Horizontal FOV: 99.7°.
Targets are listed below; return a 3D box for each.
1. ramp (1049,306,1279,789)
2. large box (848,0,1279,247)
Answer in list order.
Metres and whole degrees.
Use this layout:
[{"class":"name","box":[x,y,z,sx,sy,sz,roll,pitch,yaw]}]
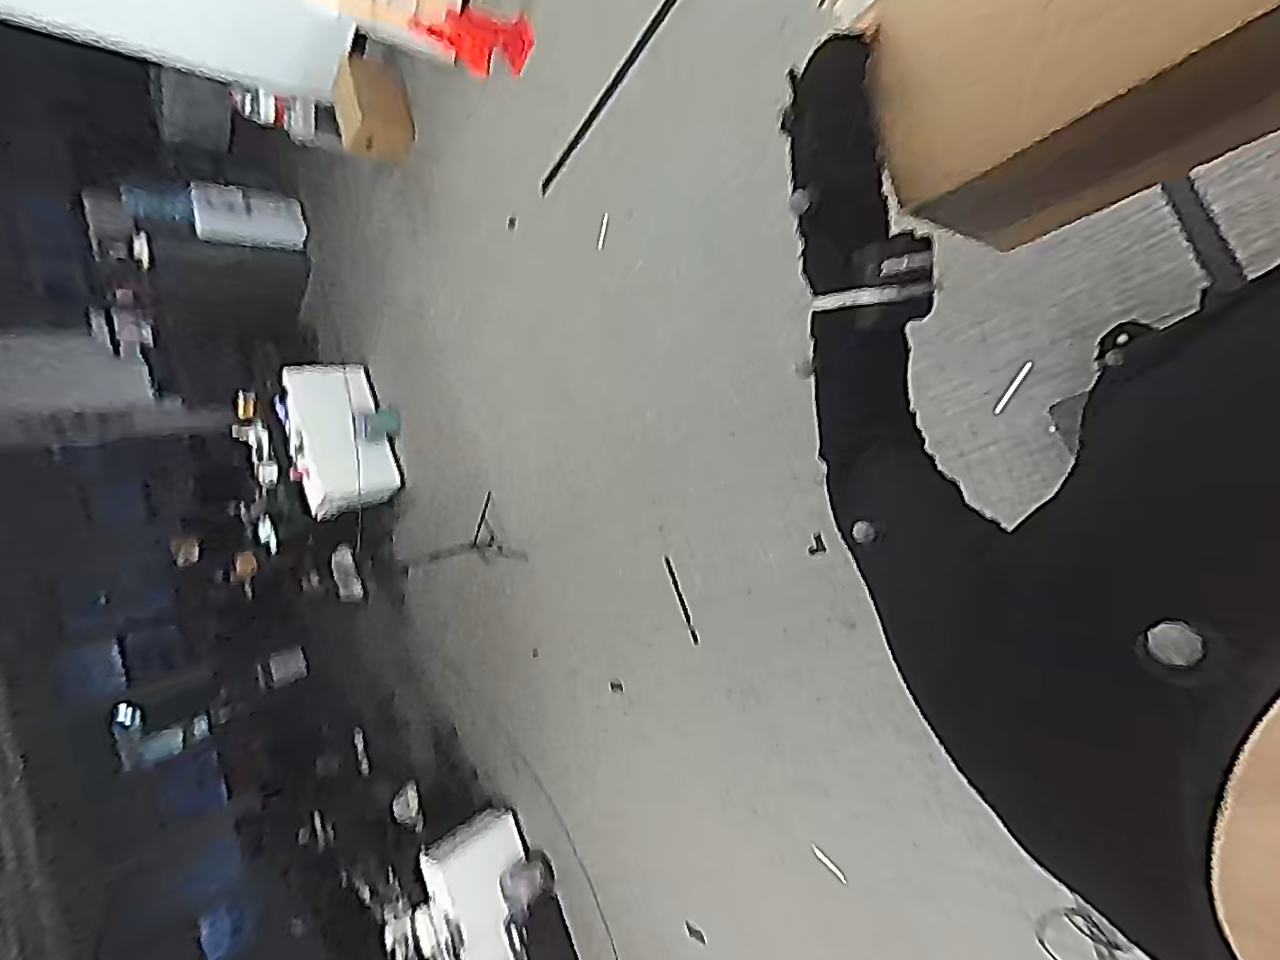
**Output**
[{"class":"ramp","box":[1.309,0.165,1.041,0.509,0.206,0.991,-32,78,43]},{"class":"large box","box":[0.392,-0.422,0.371,0.408,0.320,0.320,-19,88,46]}]
